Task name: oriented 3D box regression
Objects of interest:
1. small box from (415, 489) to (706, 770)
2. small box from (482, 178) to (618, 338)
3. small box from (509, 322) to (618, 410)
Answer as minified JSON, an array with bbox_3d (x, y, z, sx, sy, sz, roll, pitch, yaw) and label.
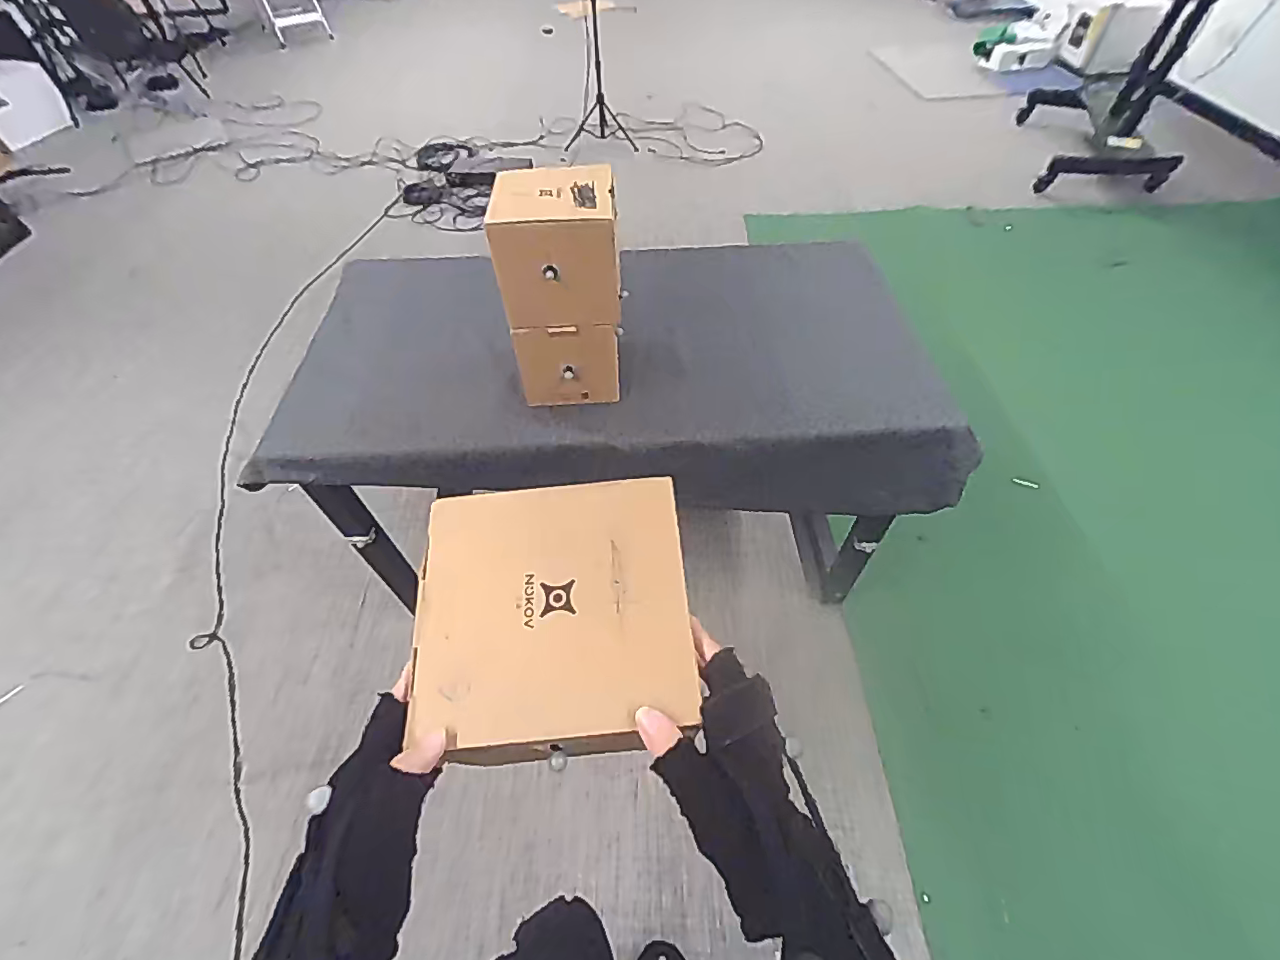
[{"bbox_3d":[-0.051,0.125,0.424,0.179,0.176,0.168,-6,61,-3],"label":"small box"},{"bbox_3d":[-0.124,-0.336,0.828,0.179,0.176,0.168,-3,52,0],"label":"small box"},{"bbox_3d":[-0.127,-0.237,0.960,0.168,0.176,0.179,-4,52,-1],"label":"small box"}]
